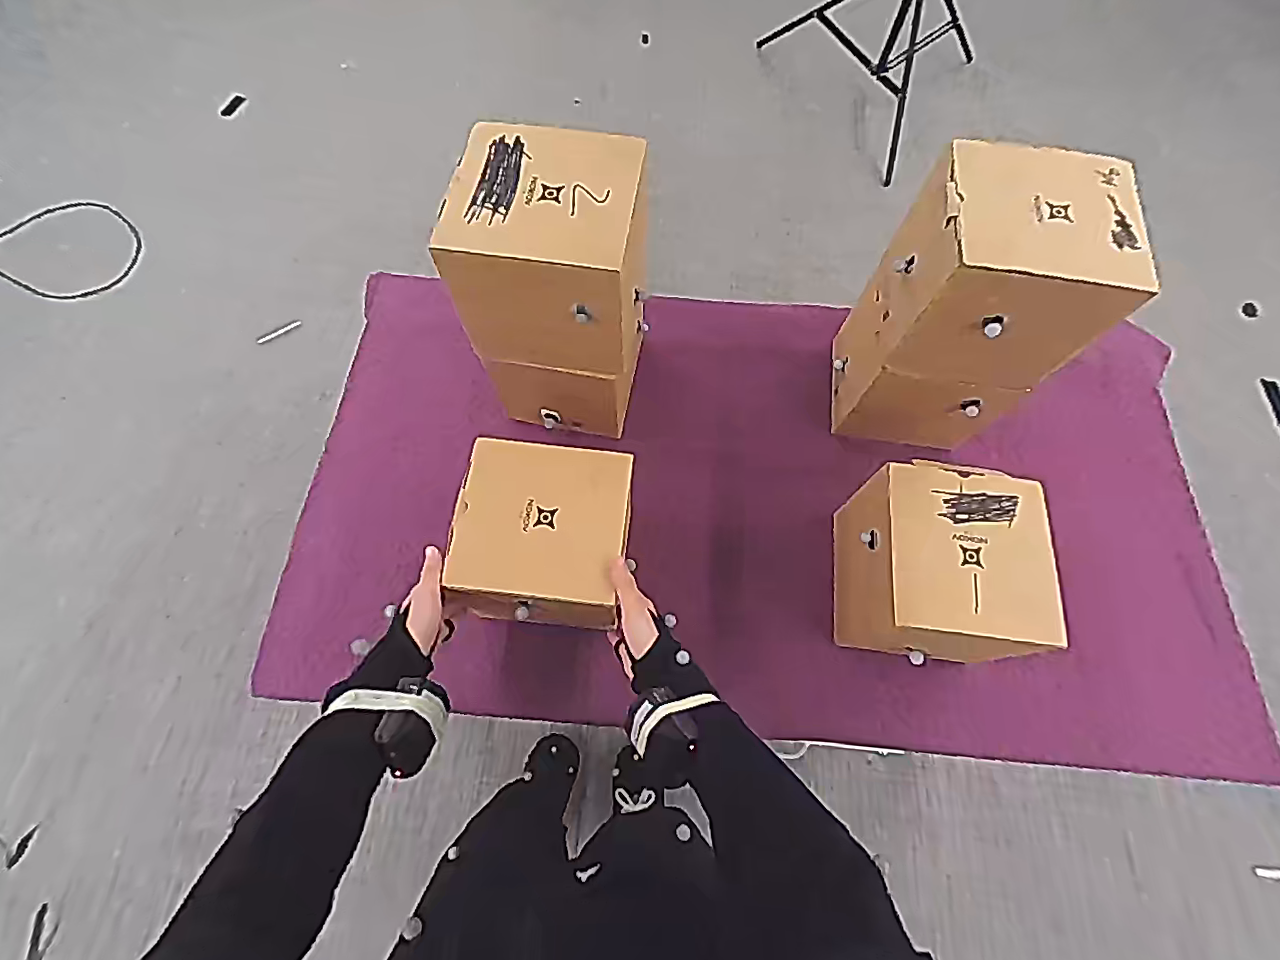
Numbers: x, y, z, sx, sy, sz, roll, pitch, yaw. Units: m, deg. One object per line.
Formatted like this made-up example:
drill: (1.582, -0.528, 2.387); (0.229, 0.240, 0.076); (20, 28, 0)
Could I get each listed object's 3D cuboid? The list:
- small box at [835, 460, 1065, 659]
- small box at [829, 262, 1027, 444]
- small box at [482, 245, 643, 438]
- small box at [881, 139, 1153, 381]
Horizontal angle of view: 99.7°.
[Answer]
small box: (0.333, 0.099, 0.623); (0.168, 0.176, 0.179); (7, 67, 2)
small box: (0.373, -0.161, 0.731); (0.179, 0.176, 0.168); (7, 68, 2)
small box: (-0.092, -0.179, 0.730); (0.168, 0.176, 0.179); (9, 70, 4)
small box: (0.375, -0.224, 0.579); (0.179, 0.176, 0.168); (9, 69, 3)
